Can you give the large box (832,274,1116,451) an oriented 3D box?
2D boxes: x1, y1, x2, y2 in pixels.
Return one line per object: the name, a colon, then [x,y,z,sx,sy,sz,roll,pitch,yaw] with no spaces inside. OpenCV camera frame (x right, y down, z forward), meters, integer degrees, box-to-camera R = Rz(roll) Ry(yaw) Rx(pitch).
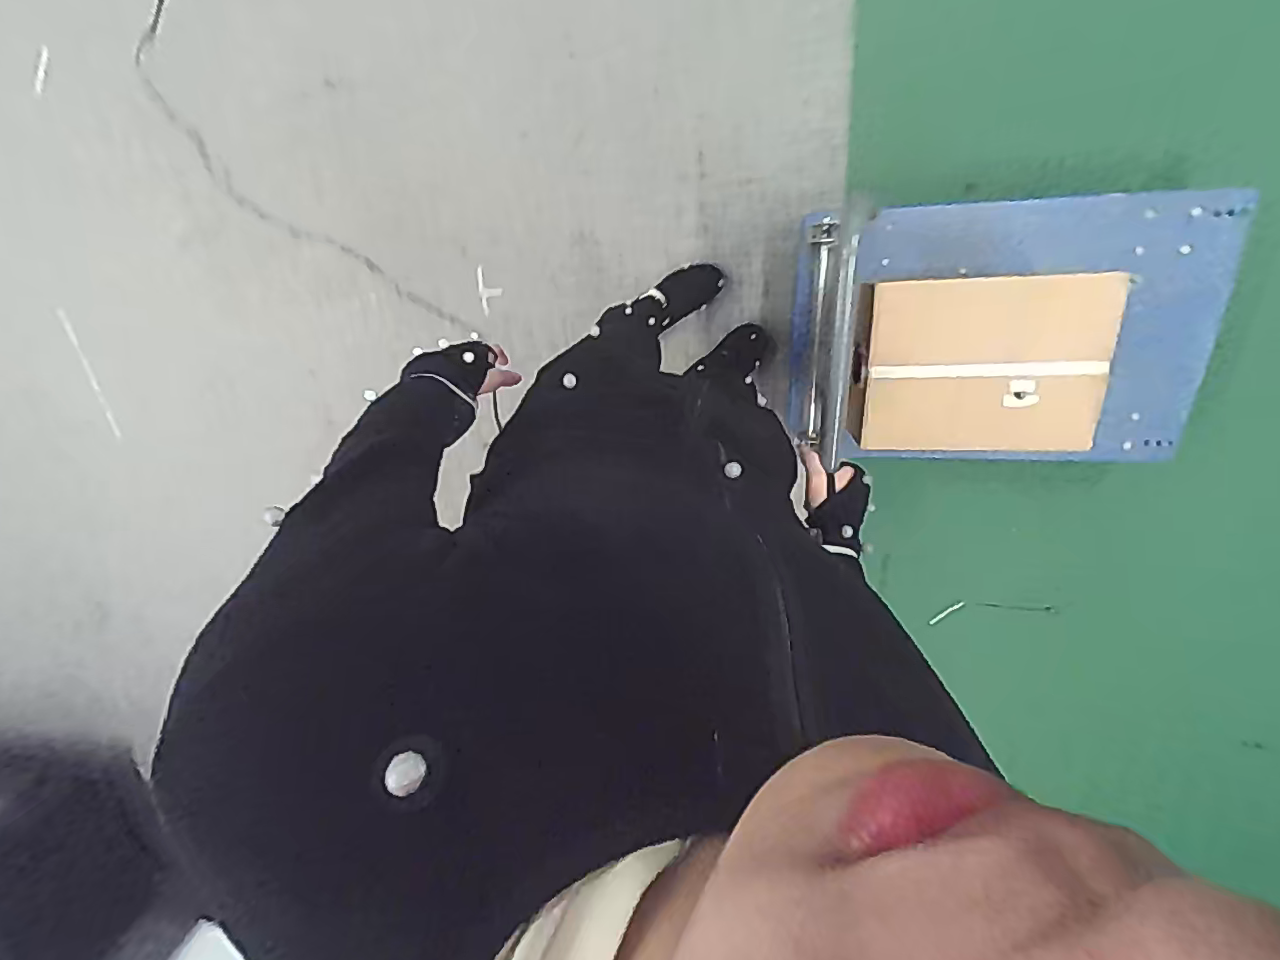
large box: [0.639,-0.251,1.130,0.408,0.320,0.320,1,110,9]
